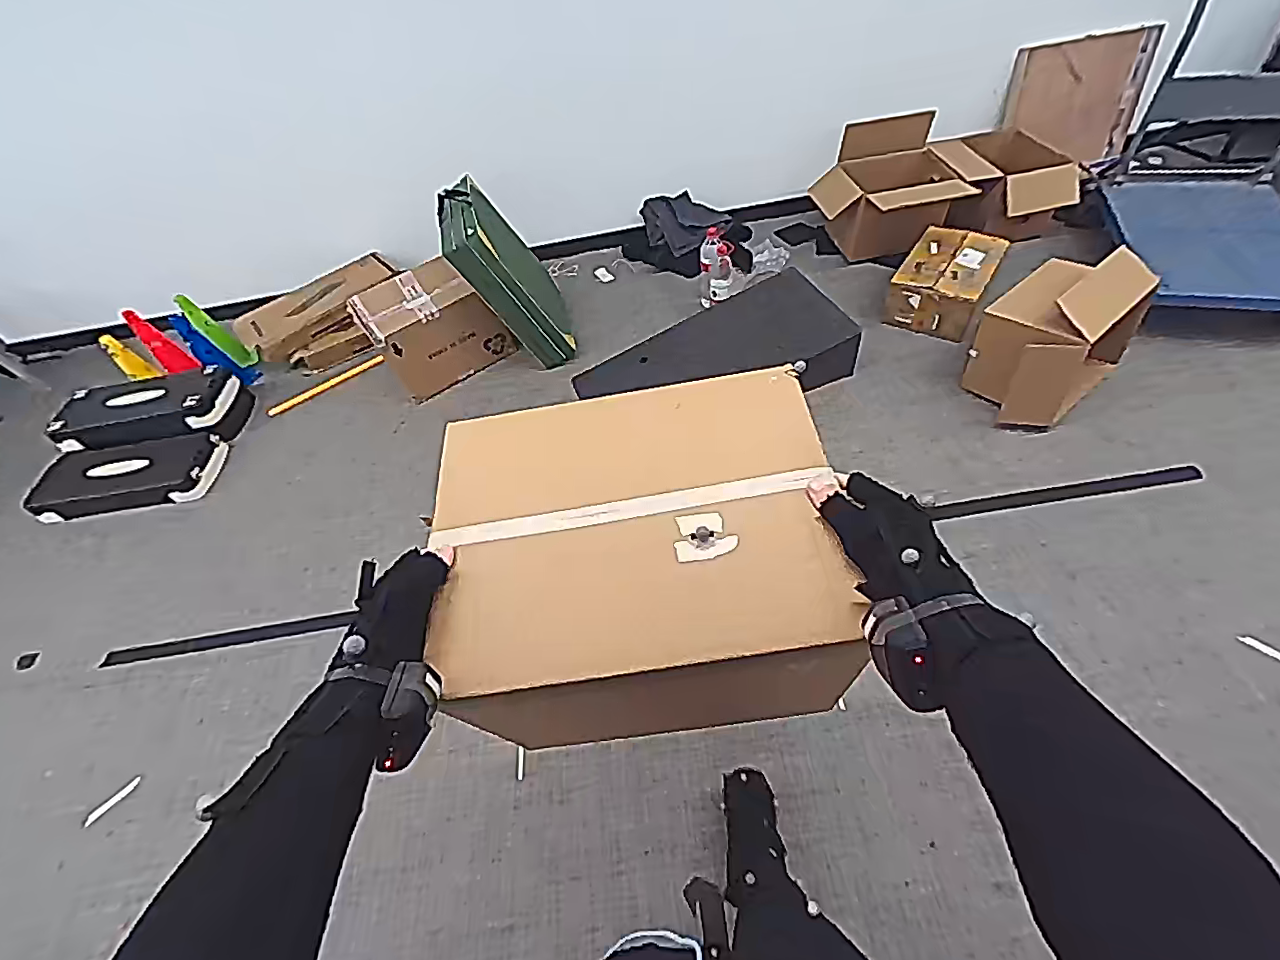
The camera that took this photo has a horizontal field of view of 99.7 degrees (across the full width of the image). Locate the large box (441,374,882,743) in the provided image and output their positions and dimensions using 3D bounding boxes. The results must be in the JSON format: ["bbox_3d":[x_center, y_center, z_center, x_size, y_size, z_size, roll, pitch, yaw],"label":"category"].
[{"bbox_3d":[0.016,0.113,0.678,0.408,0.320,0.320,-9,56,2],"label":"large box"}]
